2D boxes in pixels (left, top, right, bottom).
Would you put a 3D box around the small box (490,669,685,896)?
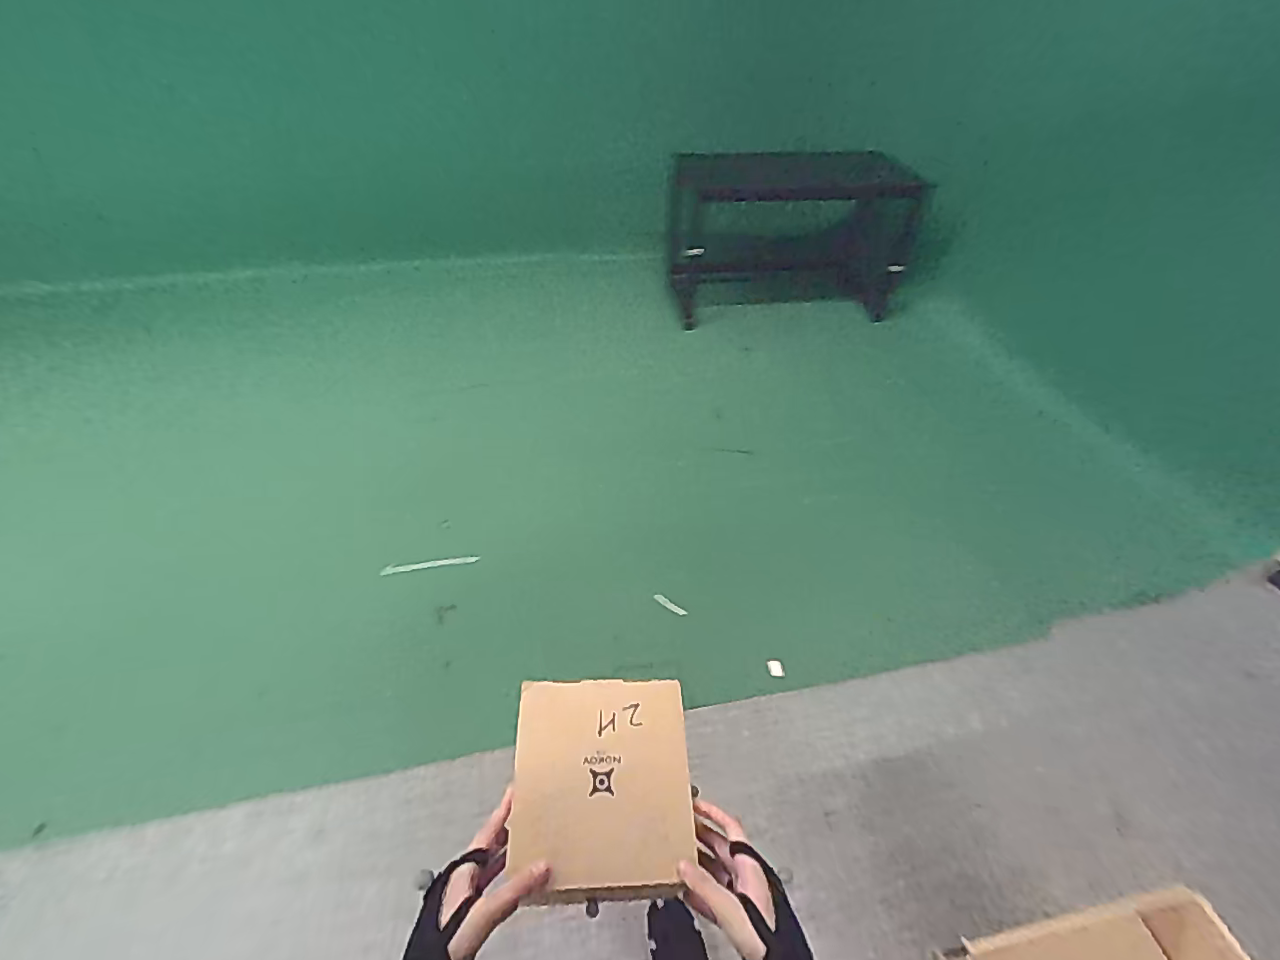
[{"bbox_3d":[-0.053,0.315,0.560,0.168,0.176,0.179,1,47,-7],"label":"small box"}]
